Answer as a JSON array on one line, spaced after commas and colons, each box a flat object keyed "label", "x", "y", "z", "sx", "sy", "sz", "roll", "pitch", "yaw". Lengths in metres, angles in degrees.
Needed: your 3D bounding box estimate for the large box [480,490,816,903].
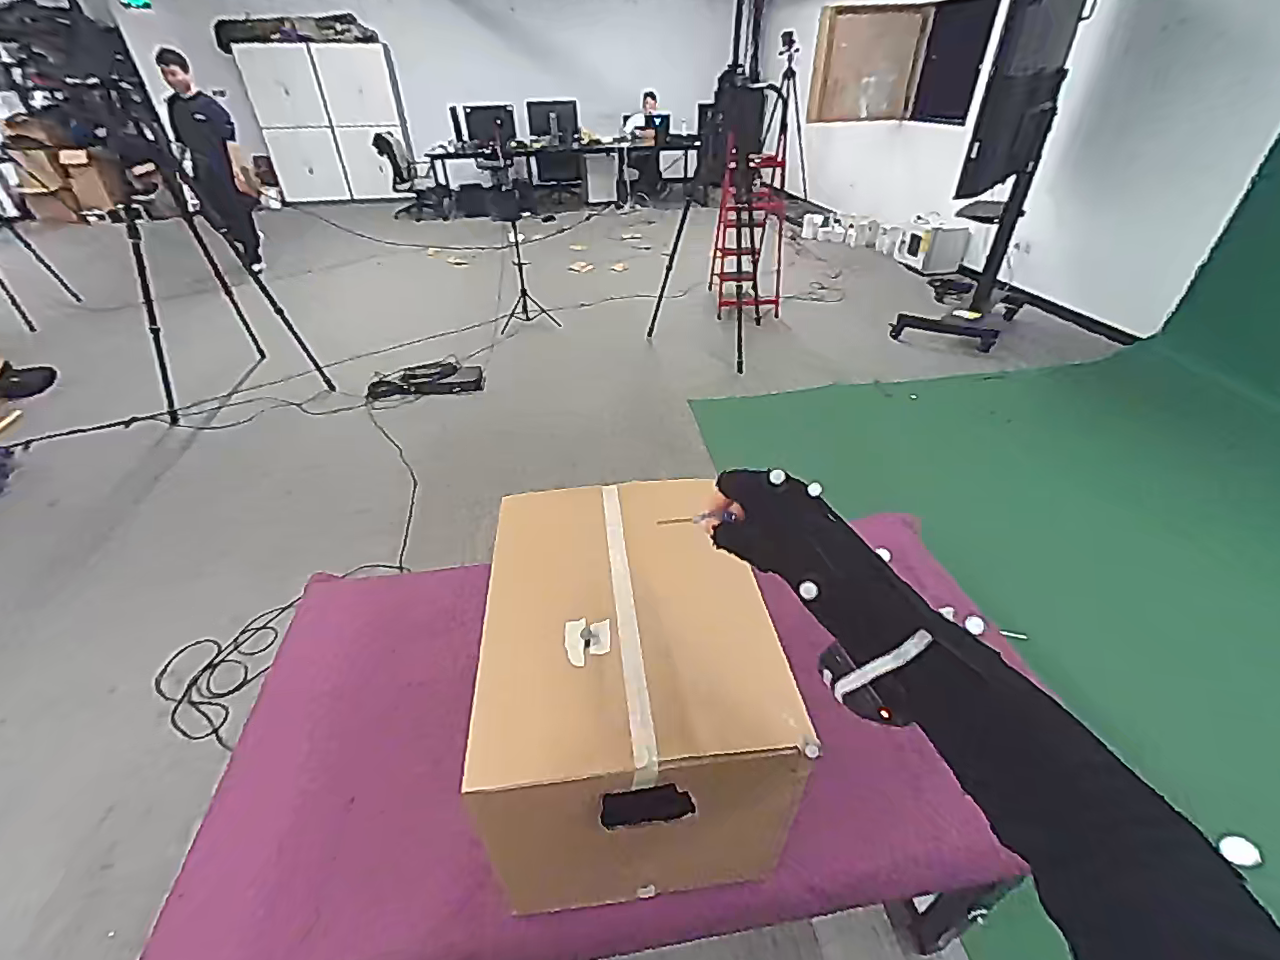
[{"label": "large box", "x": -0.015, "y": 0.260, "z": 0.725, "sx": 0.320, "sy": 0.320, "sz": 0.408, "roll": -5, "pitch": 37, "yaw": -5}]
